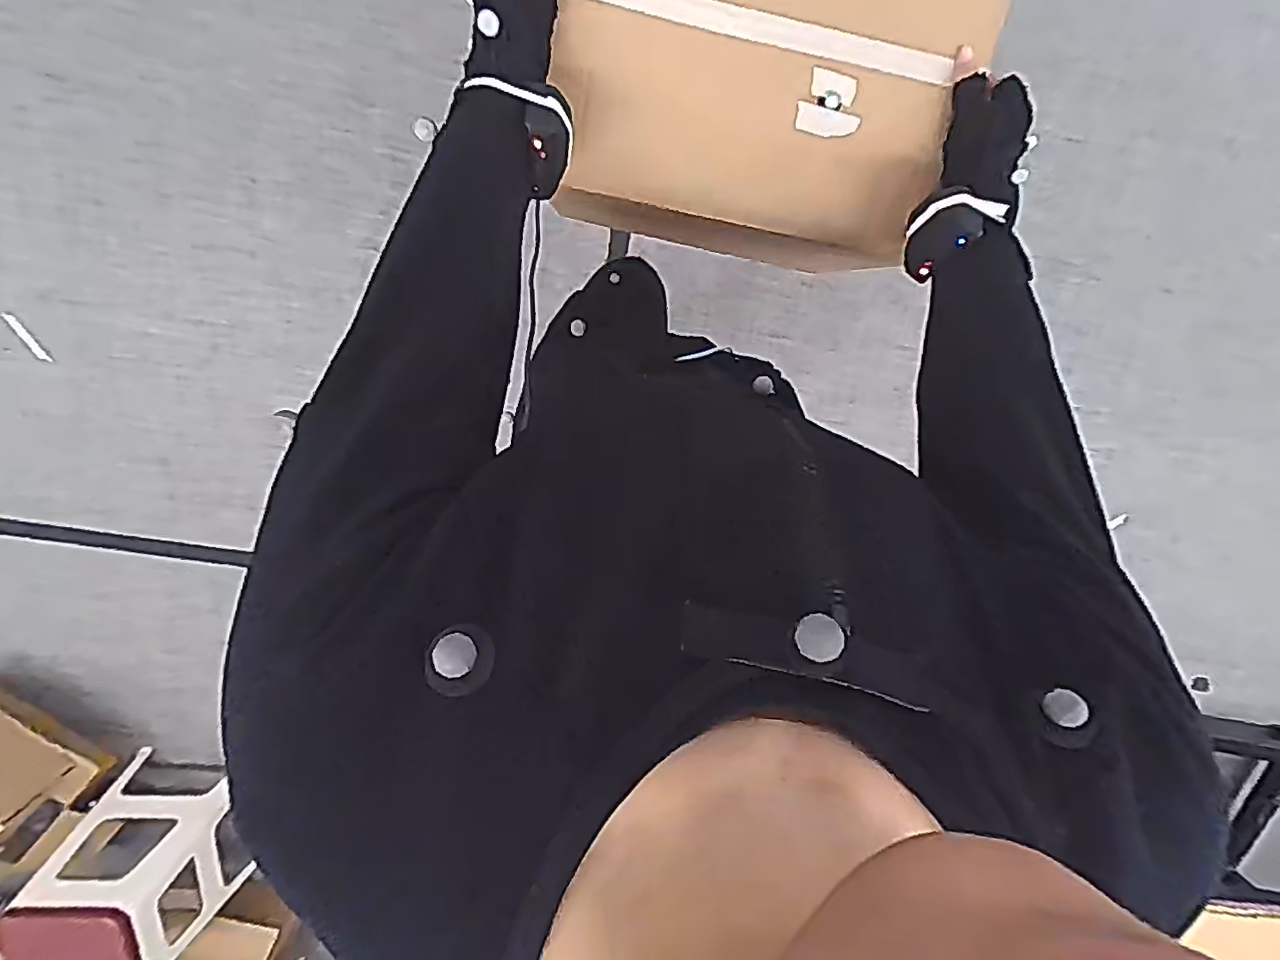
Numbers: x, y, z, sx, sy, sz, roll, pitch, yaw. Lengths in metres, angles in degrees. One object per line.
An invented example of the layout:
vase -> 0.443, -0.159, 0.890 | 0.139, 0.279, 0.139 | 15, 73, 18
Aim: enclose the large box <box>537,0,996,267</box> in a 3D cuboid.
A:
large box -> 0.110, -0.454, 0.638 | 0.408, 0.320, 0.320 | 9, 110, -6
